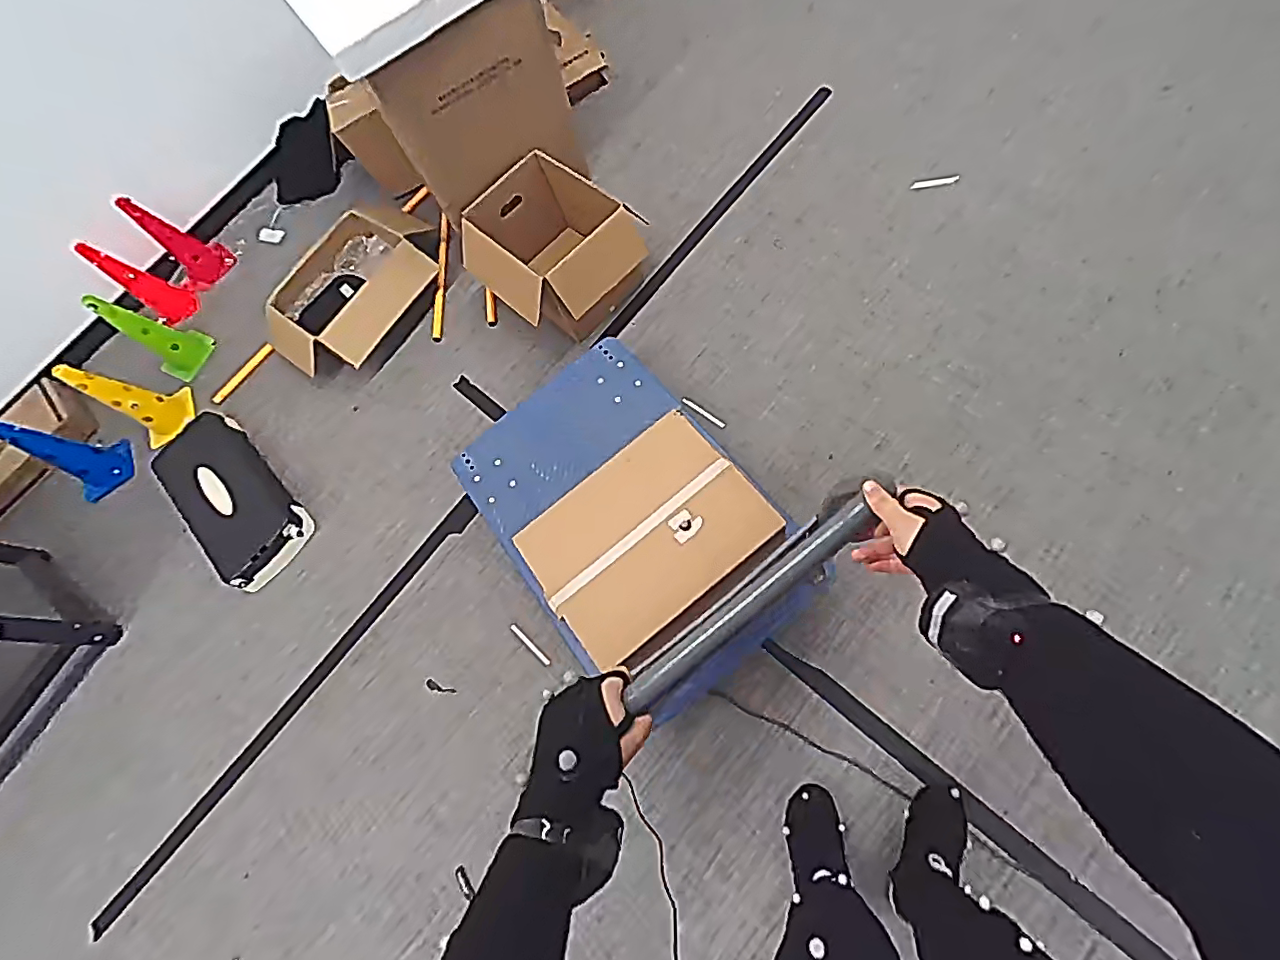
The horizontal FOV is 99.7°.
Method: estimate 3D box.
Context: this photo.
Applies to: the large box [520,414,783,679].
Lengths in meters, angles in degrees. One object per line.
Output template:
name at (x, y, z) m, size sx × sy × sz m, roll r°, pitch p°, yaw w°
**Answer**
large box at (0.039, 0.153, 1.115) m, size 0.408 × 0.320 × 0.320 m, roll -39°, pitch 66°, yaw -4°
